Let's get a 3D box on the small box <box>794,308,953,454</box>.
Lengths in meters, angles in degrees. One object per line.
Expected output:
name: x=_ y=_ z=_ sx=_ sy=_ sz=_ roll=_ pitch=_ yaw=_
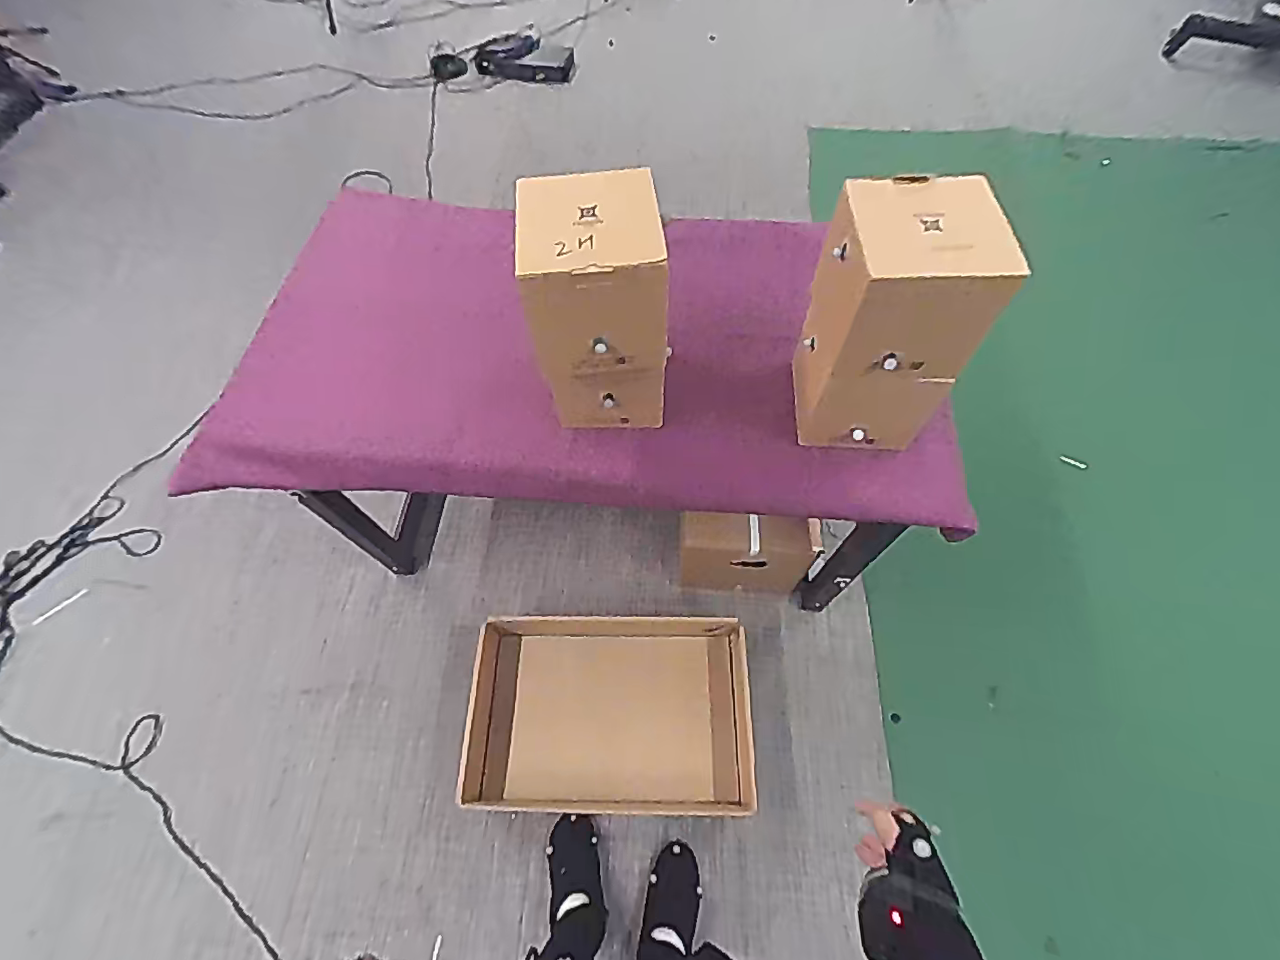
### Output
small box: x=0.335 y=-0.161 z=0.818 sx=0.168 sy=0.176 sz=0.179 roll=3 pitch=60 yaw=4

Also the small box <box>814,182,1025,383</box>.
small box: x=0.326 y=-0.243 z=0.678 sx=0.168 sy=0.176 sz=0.179 roll=0 pitch=60 yaw=3

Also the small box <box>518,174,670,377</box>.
small box: x=-0.055 y=-0.256 z=0.692 sx=0.168 sy=0.176 sz=0.179 roll=-6 pitch=61 yaw=-1

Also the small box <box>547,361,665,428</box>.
small box: x=-0.044 y=-0.195 z=0.847 sx=0.168 sy=0.176 sz=0.179 roll=0 pitch=61 yaw=1
